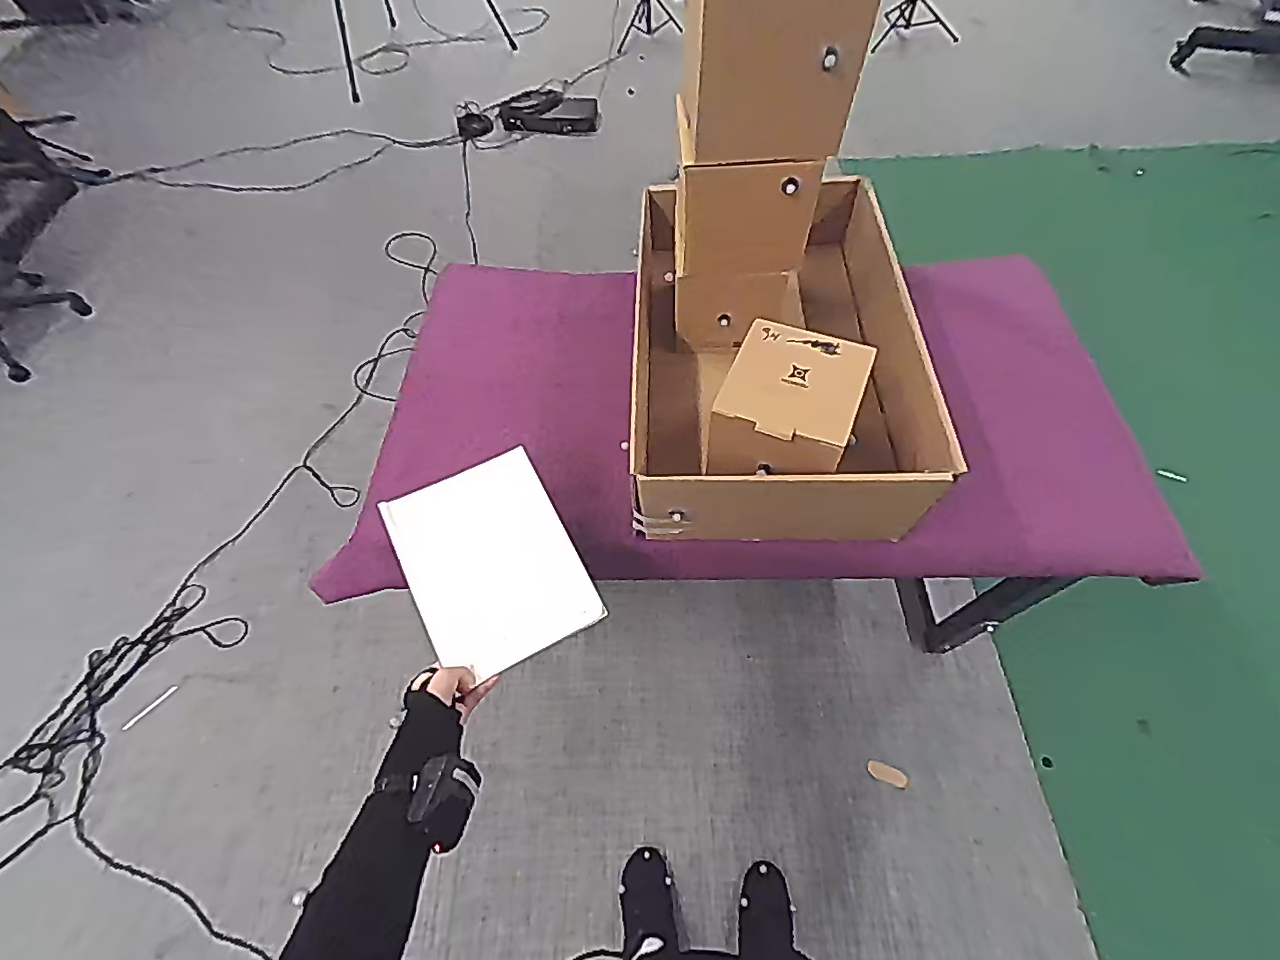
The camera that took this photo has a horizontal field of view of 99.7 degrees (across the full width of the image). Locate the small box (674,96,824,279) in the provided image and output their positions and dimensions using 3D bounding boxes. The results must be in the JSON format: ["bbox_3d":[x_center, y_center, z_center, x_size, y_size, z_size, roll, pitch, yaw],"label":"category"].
[{"bbox_3d":[0.140,-0.403,0.761,0.179,0.176,0.168,-2,60,2],"label":"small box"}]

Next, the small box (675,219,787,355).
[{"bbox_3d":[0.143,-0.325,0.903,0.168,0.176,0.179,0,61,3],"label":"small box"}]
